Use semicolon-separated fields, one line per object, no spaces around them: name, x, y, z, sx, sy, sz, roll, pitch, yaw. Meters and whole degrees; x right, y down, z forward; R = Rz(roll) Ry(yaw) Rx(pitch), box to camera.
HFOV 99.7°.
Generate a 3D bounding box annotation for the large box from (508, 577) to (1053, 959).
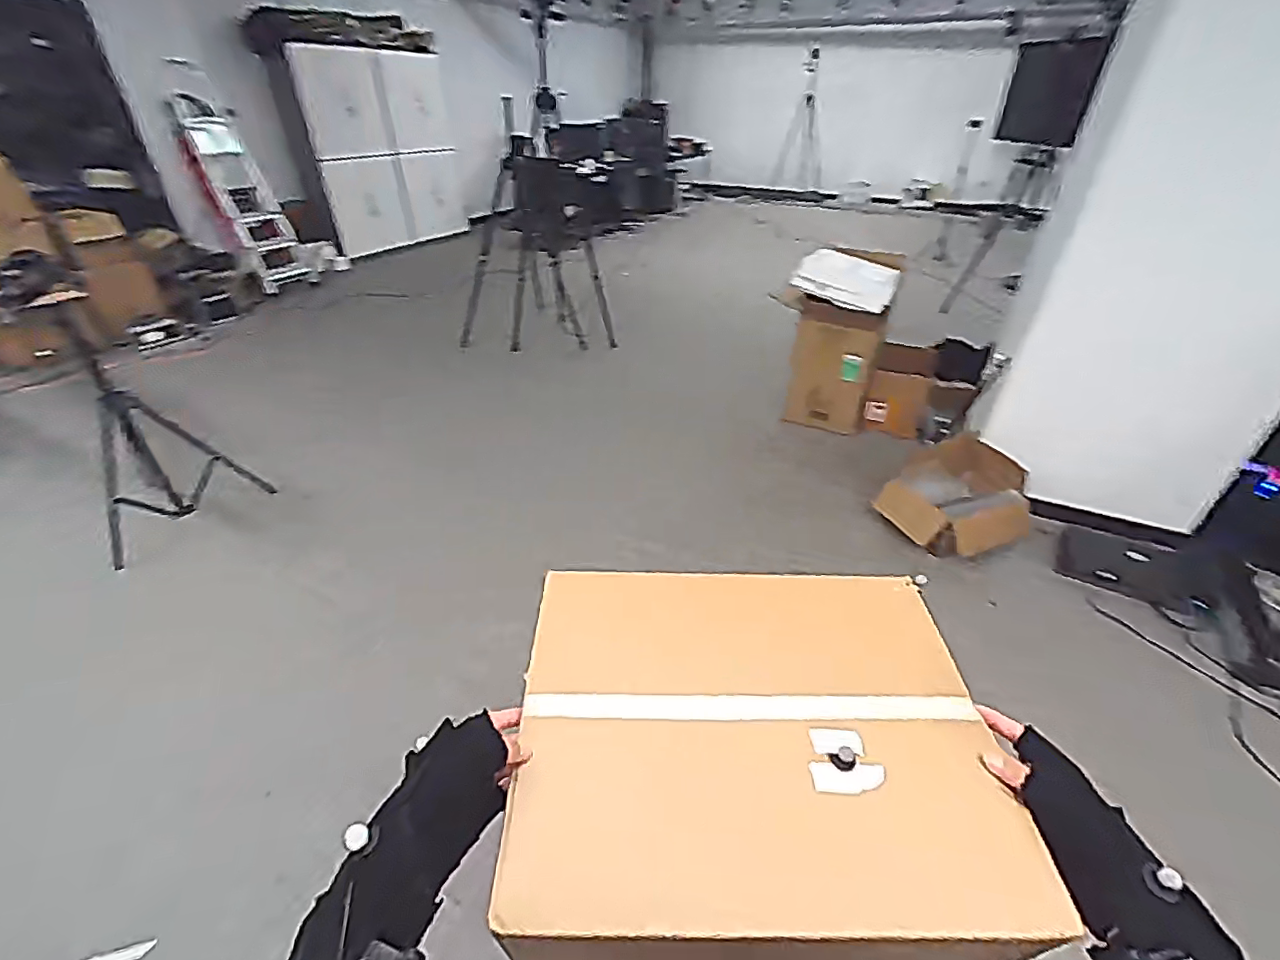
large box;0.094;0.323;0.590;0.408;0.320;0.320;1;40;-2
